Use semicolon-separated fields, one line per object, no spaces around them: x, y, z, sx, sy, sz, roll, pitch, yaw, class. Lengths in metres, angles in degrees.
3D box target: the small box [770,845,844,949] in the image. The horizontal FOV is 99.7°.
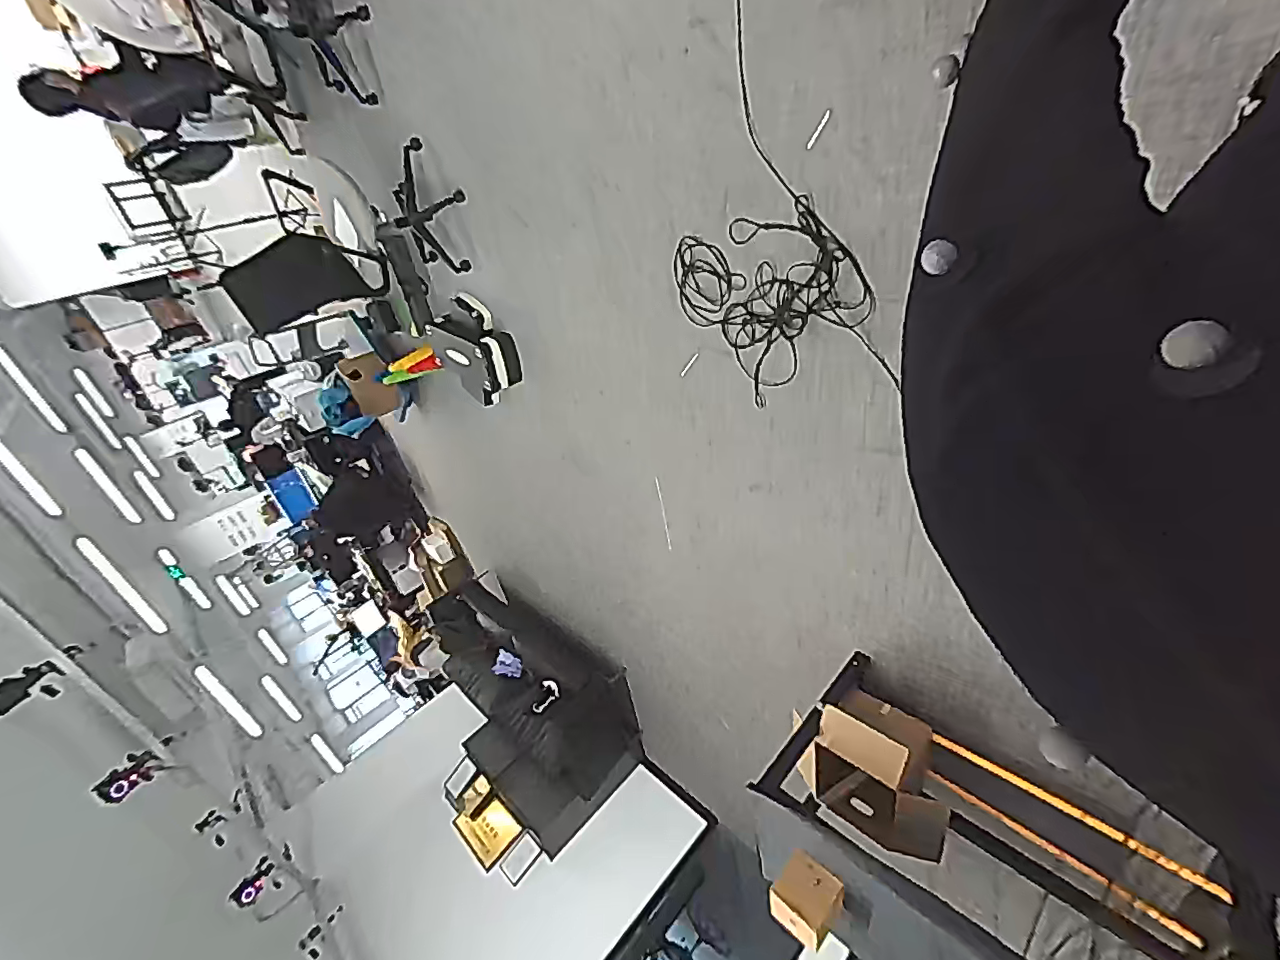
0.537;1.330;1.734;0.168;0.176;0.179;21;134;41;small box
